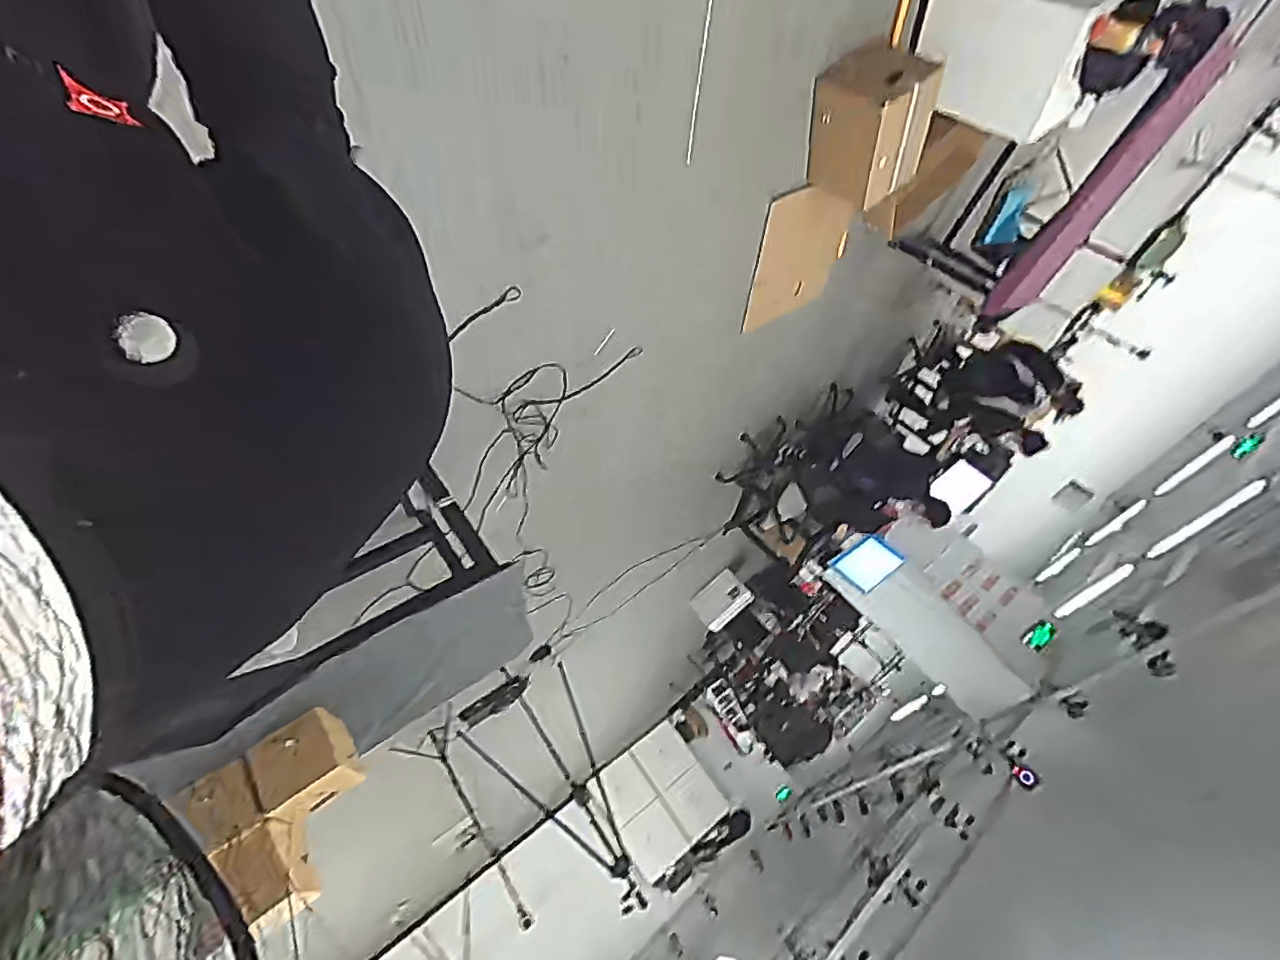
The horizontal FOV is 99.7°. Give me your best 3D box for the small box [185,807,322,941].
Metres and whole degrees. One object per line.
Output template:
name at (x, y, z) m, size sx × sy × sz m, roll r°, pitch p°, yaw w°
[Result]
small box at (-0.854, 0.862, 1.201) m, size 0.179 × 0.176 × 0.168 m, roll -30°, pitch 152°, yaw -24°
